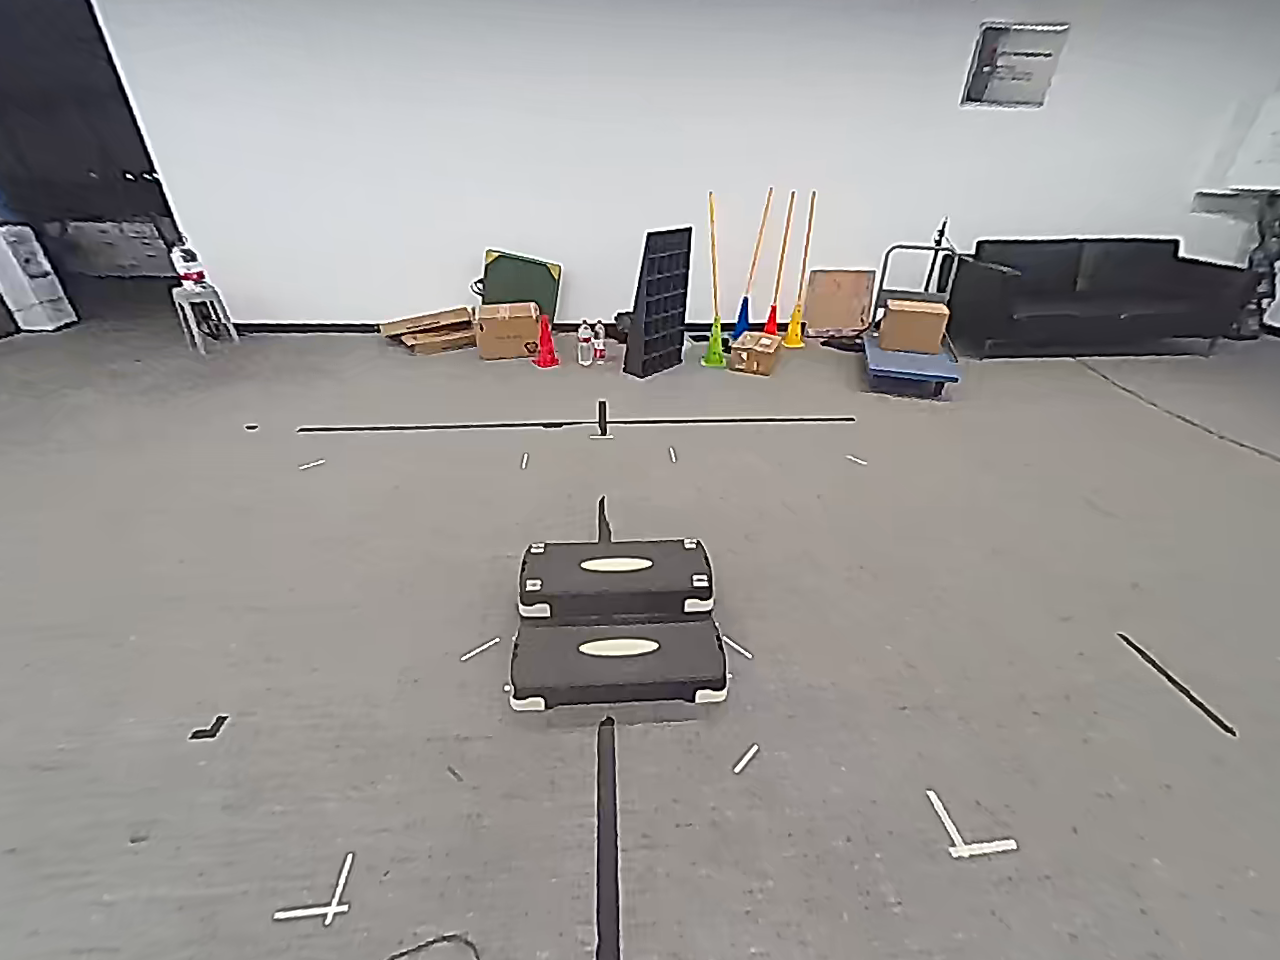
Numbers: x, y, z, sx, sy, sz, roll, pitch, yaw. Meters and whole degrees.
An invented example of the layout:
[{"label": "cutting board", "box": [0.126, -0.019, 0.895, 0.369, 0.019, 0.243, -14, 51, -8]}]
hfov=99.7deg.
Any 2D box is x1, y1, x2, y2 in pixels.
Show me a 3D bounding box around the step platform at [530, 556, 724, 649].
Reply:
[{"label": "step platform", "box": [-0.045, 0.430, 1.940, 0.684, 0.204, 0.286, 1, 30, 0]}]
